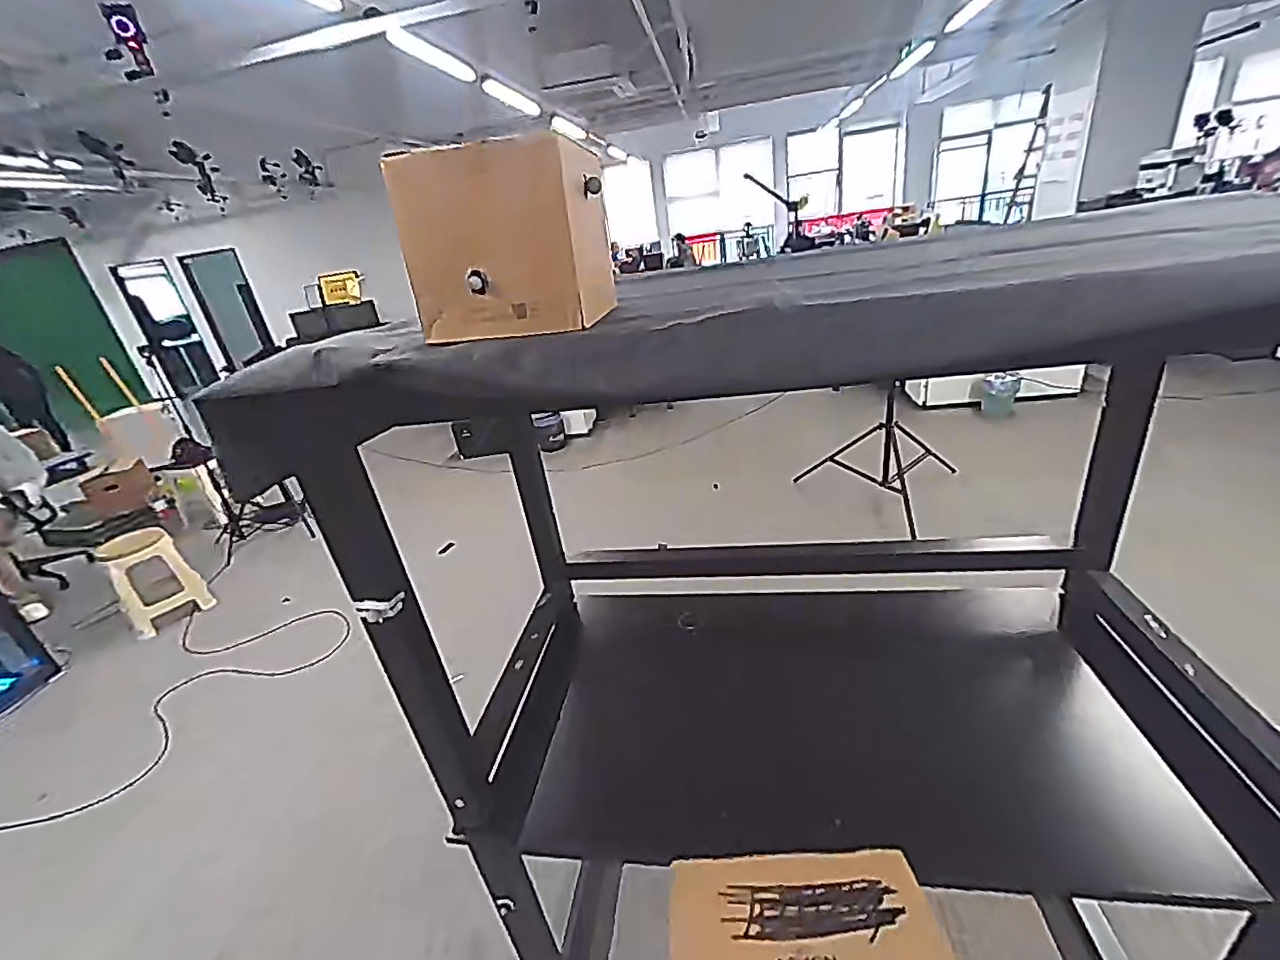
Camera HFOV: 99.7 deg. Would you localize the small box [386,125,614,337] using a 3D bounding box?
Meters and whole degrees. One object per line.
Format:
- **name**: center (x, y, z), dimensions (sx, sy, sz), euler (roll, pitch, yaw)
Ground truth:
- **small box**: center (-0.126, -0.249, 0.566), dimensions (0.168, 0.176, 0.179), euler (-3, 24, 9)
